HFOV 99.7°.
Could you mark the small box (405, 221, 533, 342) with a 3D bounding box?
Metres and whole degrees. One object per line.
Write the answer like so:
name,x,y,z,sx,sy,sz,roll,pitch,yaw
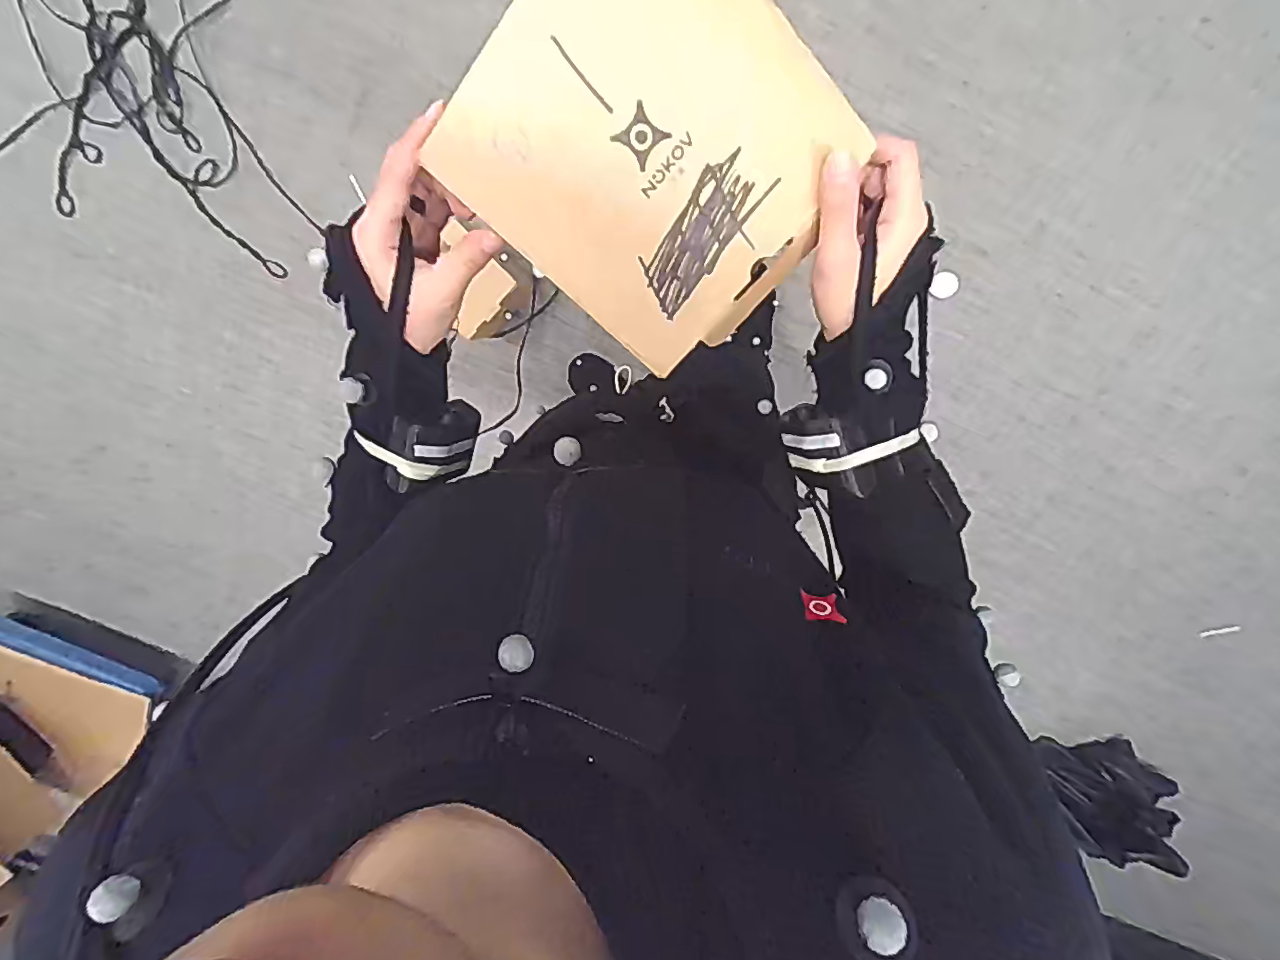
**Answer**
small box,-0.359,-0.428,1.174,0.168,0.176,0.179,-42,101,15
